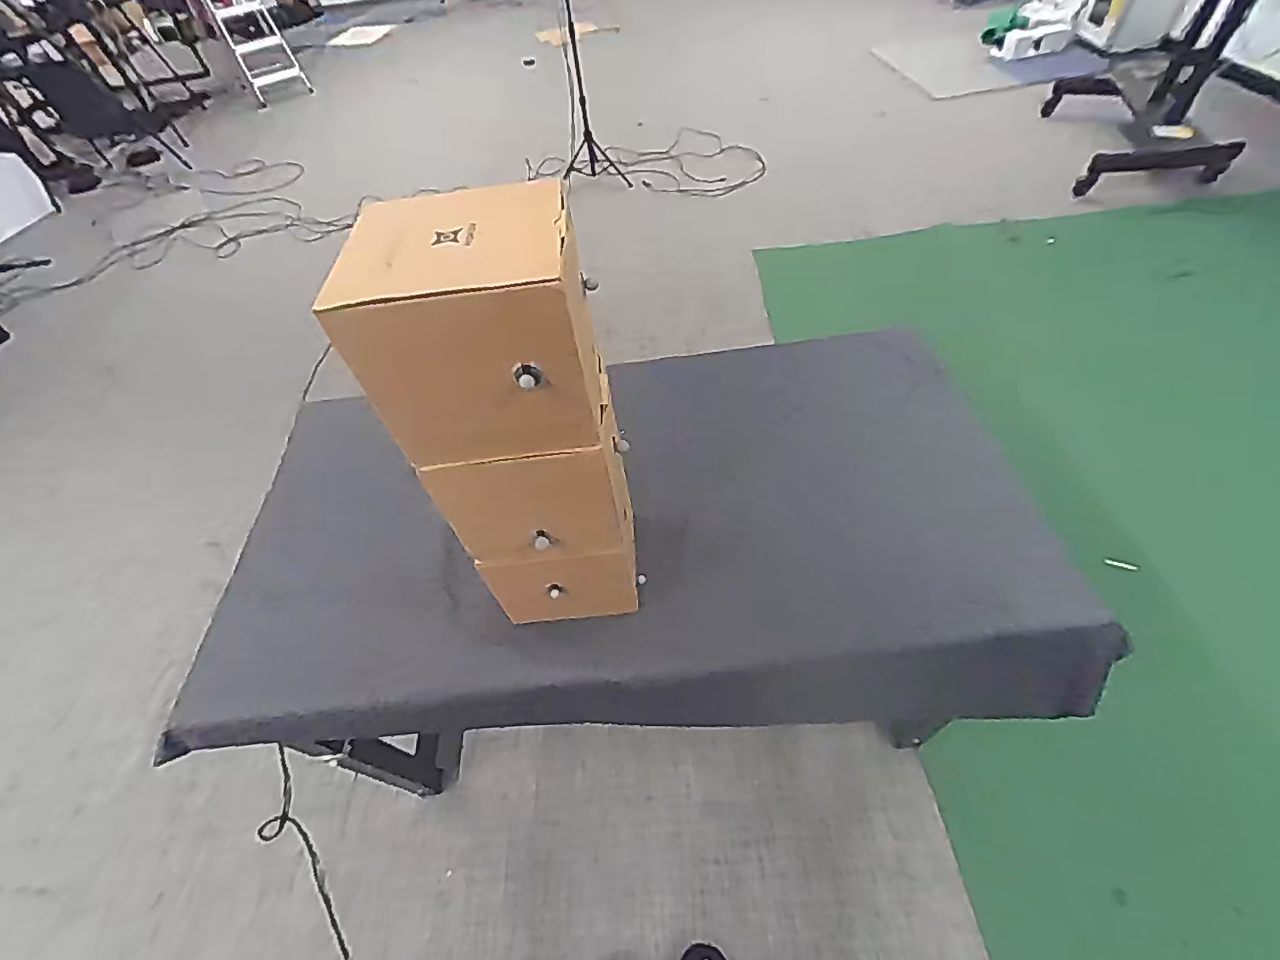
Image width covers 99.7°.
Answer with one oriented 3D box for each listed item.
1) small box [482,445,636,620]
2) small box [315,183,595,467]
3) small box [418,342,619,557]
[{"bbox_3d":[-0.099,0.074,0.731,0.179,0.176,0.168,-8,52,-1],"label":"small box"},{"bbox_3d":[-0.136,-0.131,0.480,0.179,0.176,0.168,-8,51,2],"label":"small box"},{"bbox_3d":[-0.116,-0.029,0.605,0.179,0.176,0.168,-6,52,2],"label":"small box"}]
